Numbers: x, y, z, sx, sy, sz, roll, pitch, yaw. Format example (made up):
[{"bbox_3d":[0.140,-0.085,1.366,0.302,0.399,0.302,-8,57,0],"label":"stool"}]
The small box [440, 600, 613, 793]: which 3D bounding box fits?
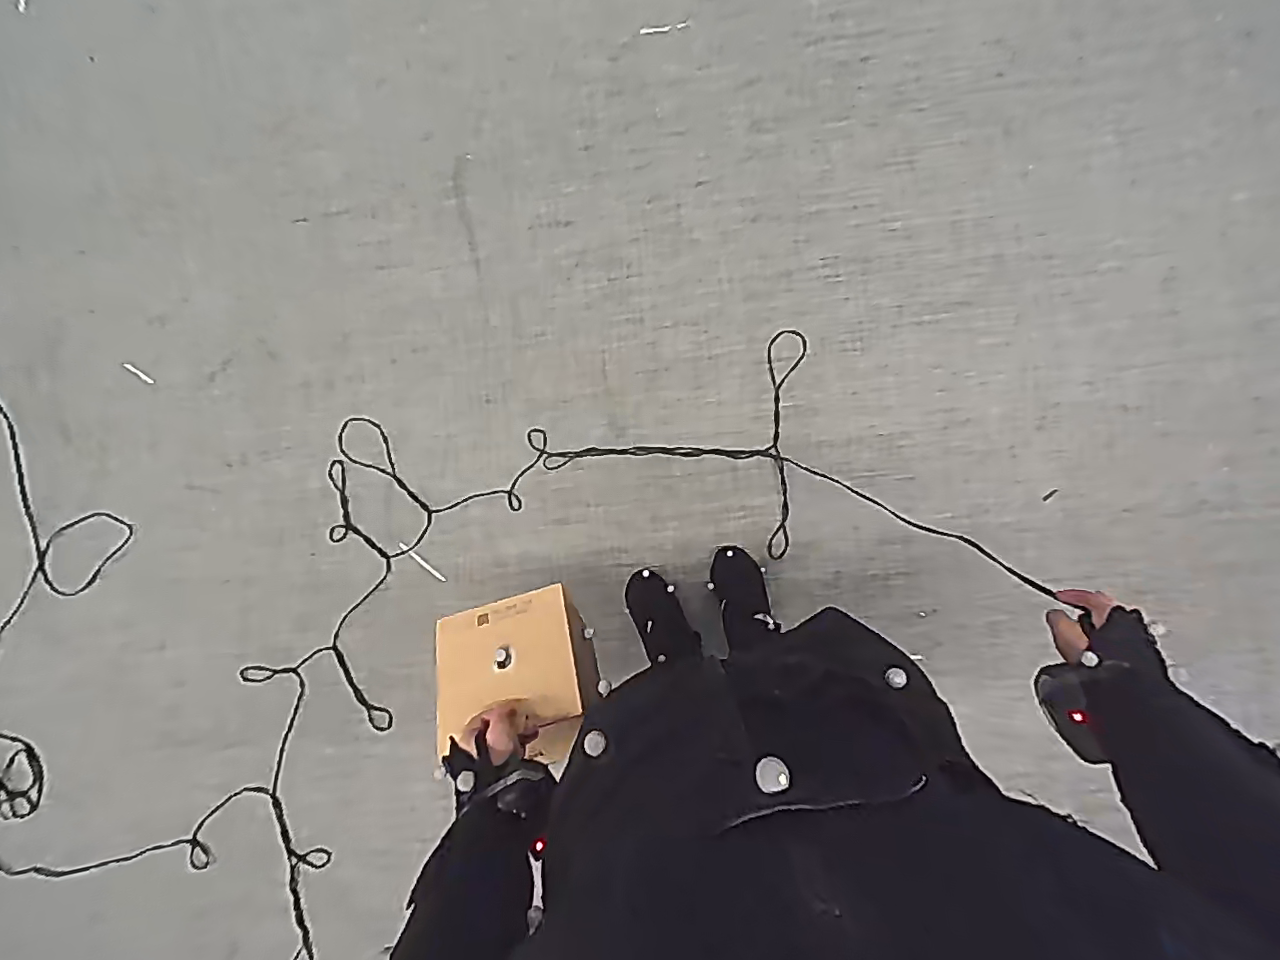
[{"bbox_3d":[-0.146,0.273,0.698,0.168,0.179,0.176,-17,51,-2],"label":"small box"}]
